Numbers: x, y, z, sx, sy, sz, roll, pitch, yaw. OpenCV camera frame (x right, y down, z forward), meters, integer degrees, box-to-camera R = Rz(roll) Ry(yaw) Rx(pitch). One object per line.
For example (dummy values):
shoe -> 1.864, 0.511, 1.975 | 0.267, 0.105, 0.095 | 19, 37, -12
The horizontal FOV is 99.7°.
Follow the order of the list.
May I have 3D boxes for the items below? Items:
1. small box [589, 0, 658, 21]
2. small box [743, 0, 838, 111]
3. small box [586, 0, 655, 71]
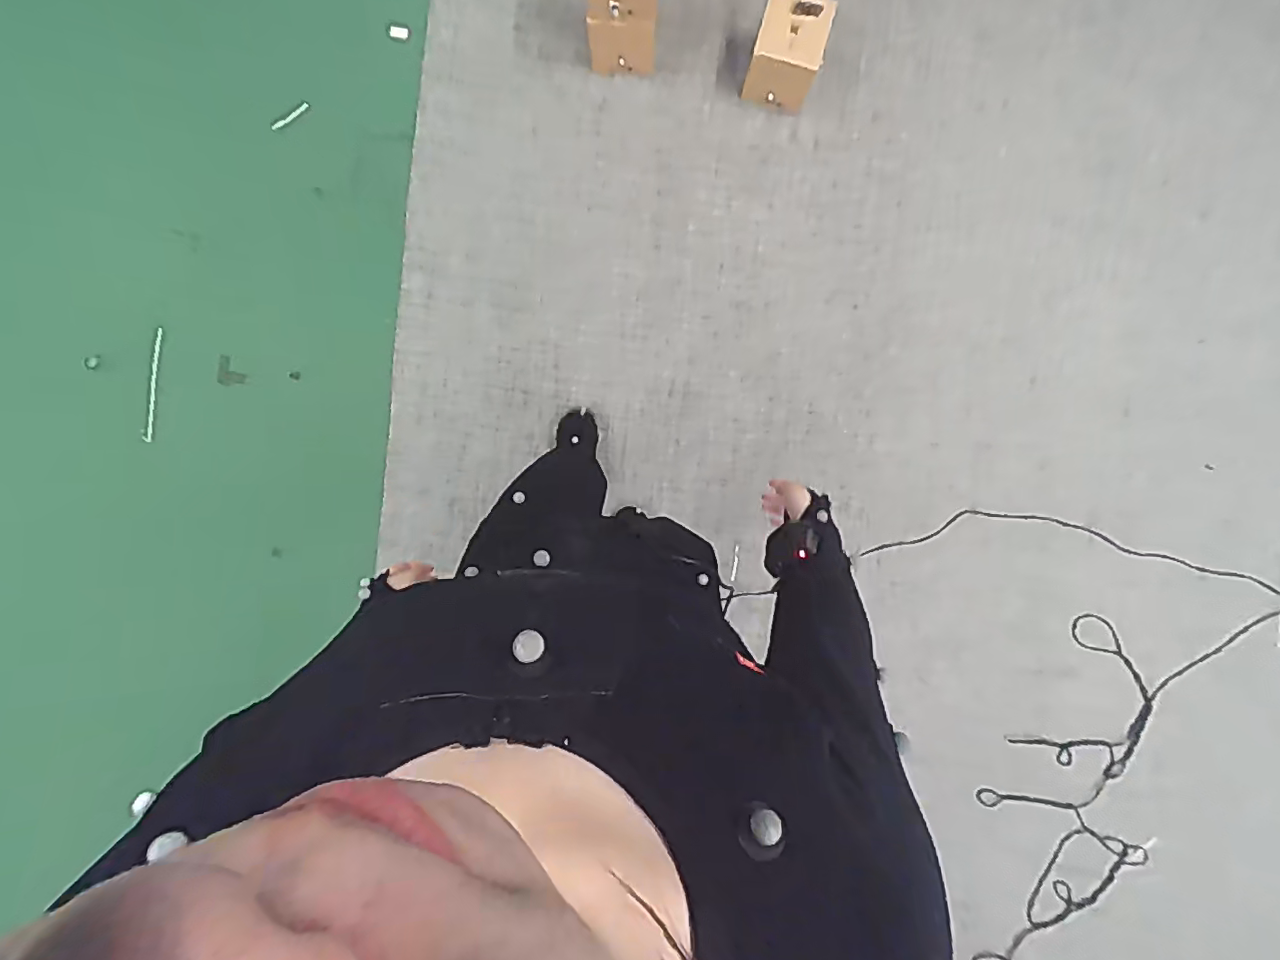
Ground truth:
small box -> -0.036, -1.185, 1.205 | 0.168, 0.176, 0.179 | 4, 90, 1
small box -> 0.373, -1.092, 1.370 | 0.168, 0.176, 0.179 | 16, 92, -1
small box -> -0.045, -1.186, 1.365 | 0.168, 0.176, 0.179 | 2, 92, 0
